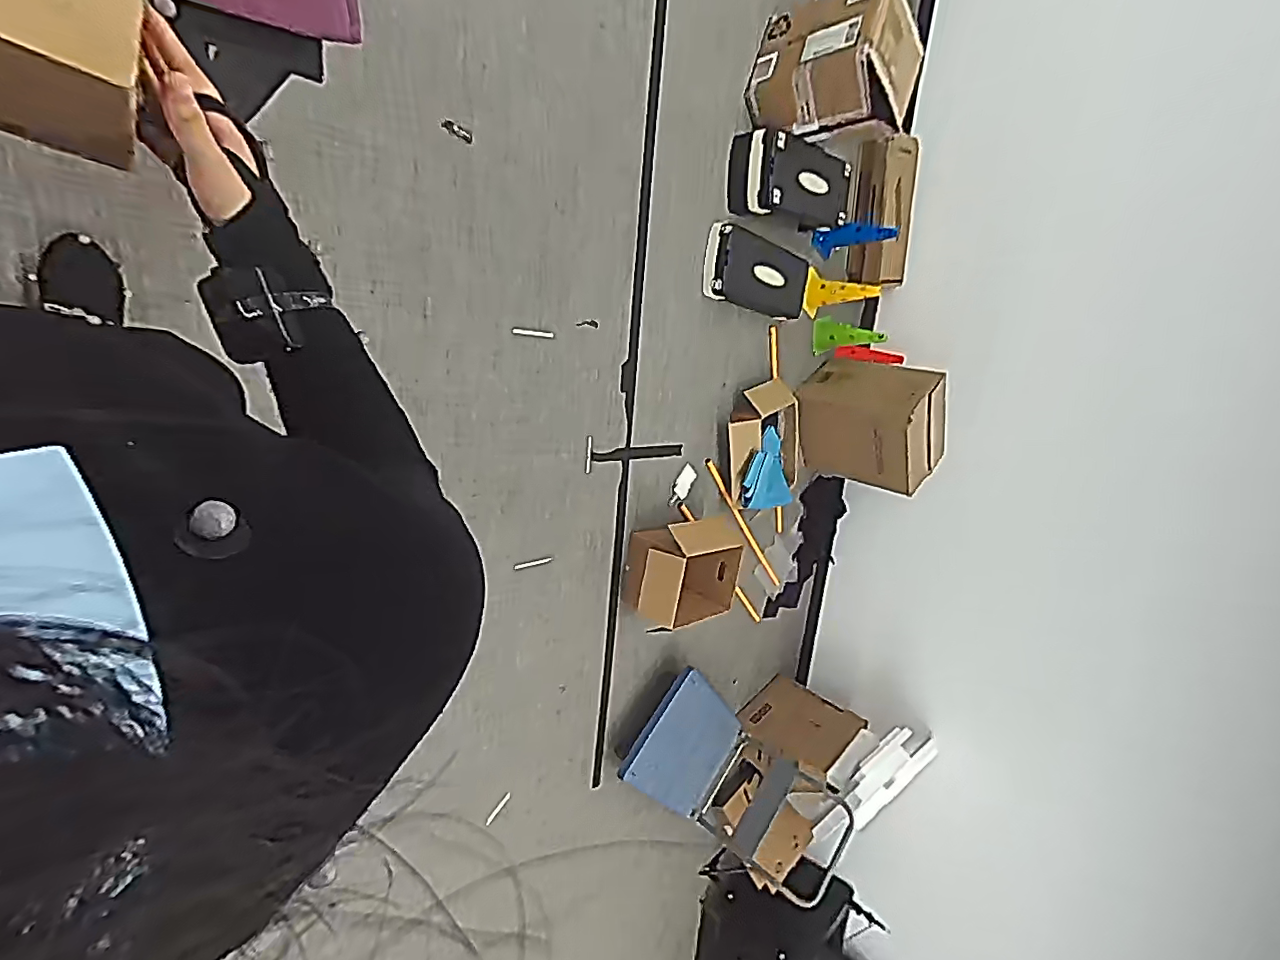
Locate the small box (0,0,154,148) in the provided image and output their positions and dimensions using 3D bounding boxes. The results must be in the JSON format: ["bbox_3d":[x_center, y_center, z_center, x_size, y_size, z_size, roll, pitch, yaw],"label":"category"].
[{"bbox_3d":[-0.389,-0.331,0.308,0.168,0.176,0.179,5,93,-45],"label":"small box"}]
